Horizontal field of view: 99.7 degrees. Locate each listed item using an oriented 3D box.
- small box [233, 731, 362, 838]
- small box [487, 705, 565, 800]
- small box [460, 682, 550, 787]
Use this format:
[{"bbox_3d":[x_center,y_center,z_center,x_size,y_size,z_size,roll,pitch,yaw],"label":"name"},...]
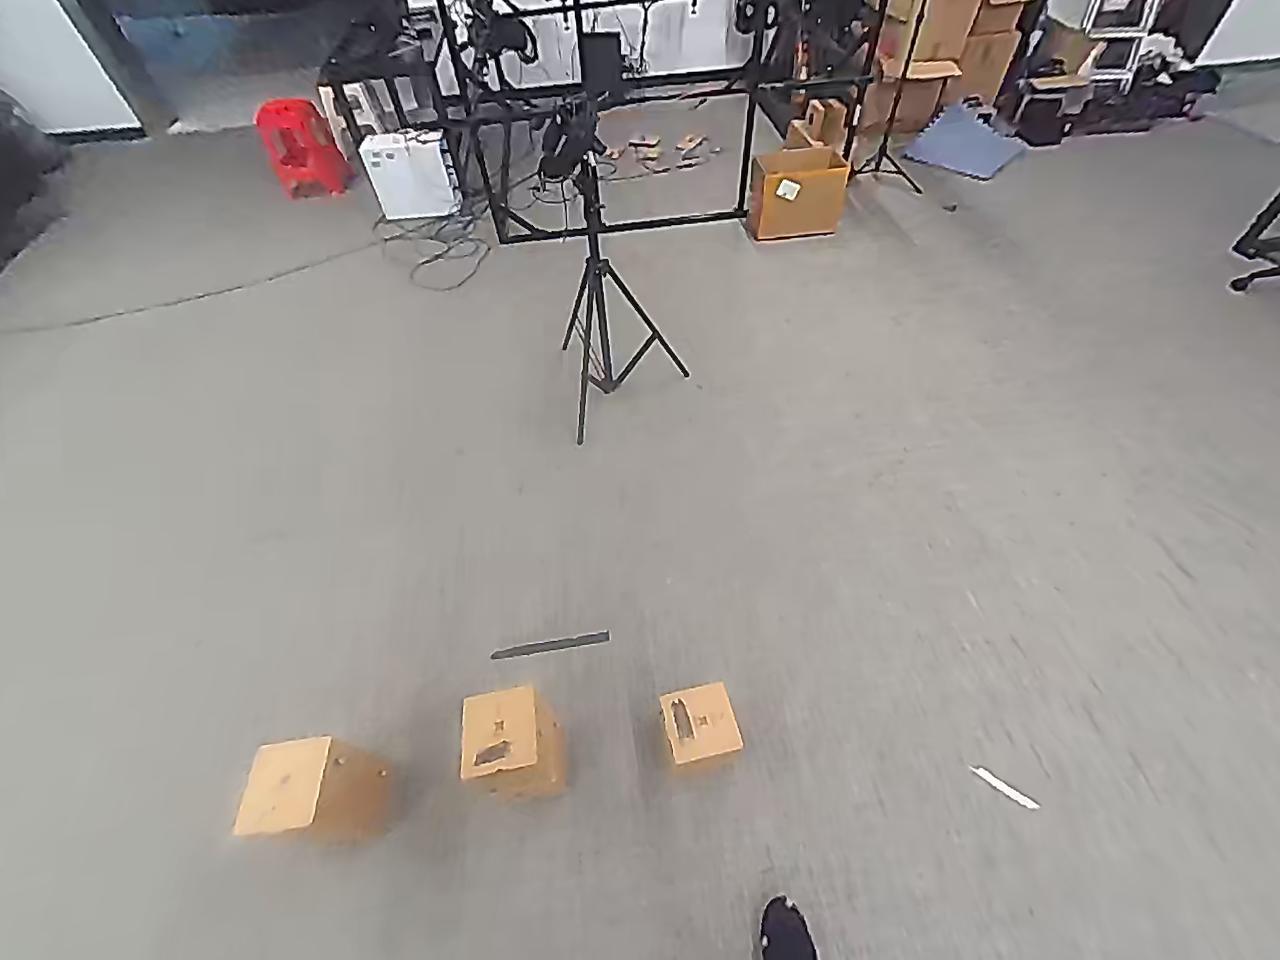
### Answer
[{"bbox_3d":[-0.752,0.684,1.213,0.168,0.176,0.179,-7,52,-1],"label":"small box"},{"bbox_3d":[-0.289,0.702,1.383,0.168,0.176,0.179,-10,51,-4],"label":"small box"},{"bbox_3d":[-0.309,0.597,1.258,0.168,0.176,0.179,-9,50,-4],"label":"small box"}]
